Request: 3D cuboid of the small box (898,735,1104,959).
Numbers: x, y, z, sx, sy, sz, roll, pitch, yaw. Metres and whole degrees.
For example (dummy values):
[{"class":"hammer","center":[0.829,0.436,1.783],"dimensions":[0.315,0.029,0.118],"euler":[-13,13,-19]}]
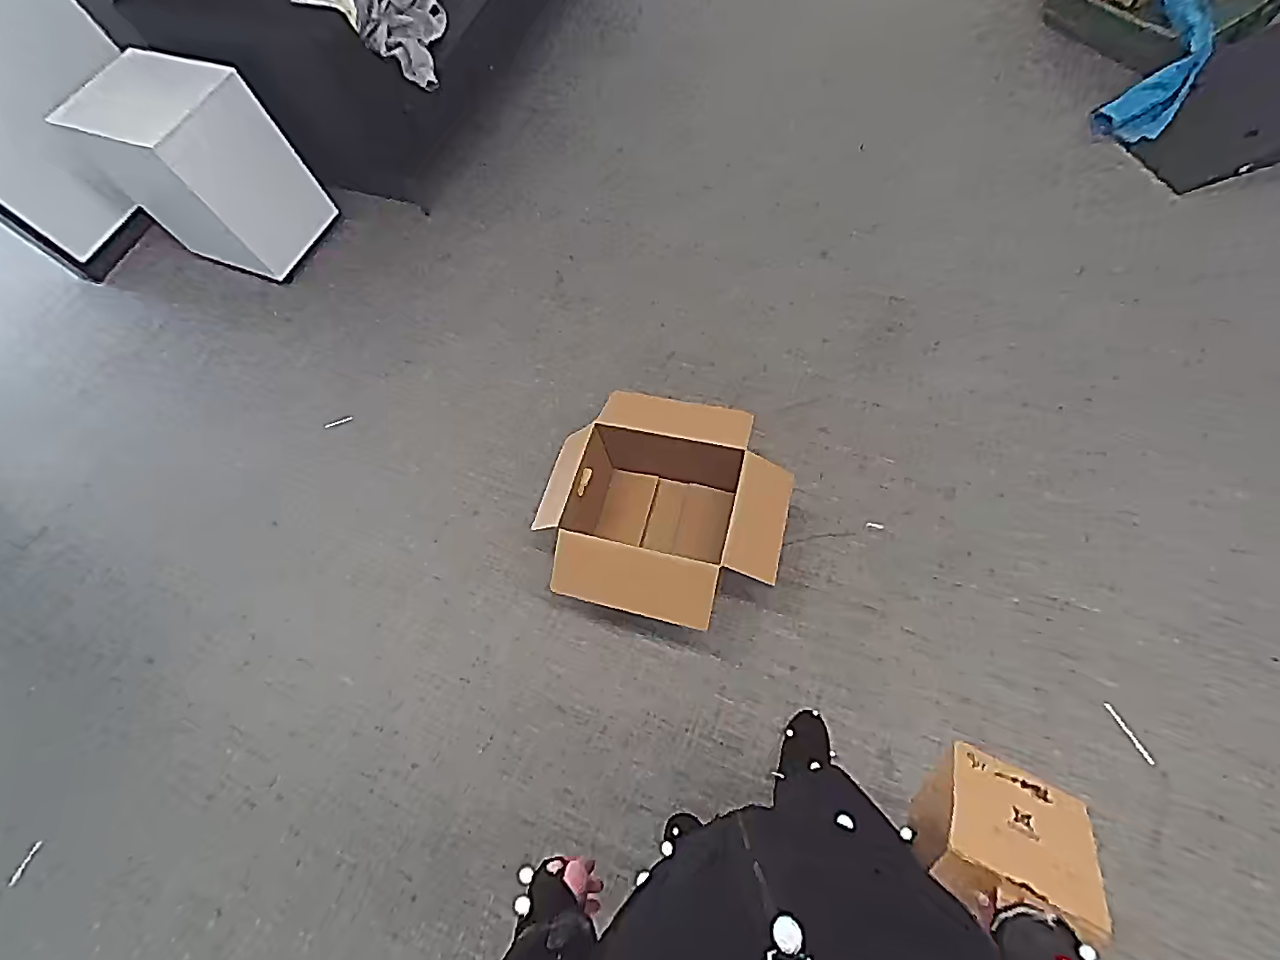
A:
[{"class":"small box","center":[0.460,0.492,0.712],"dimensions":[0.168,0.176,0.179],"euler":[24,32,23]}]
